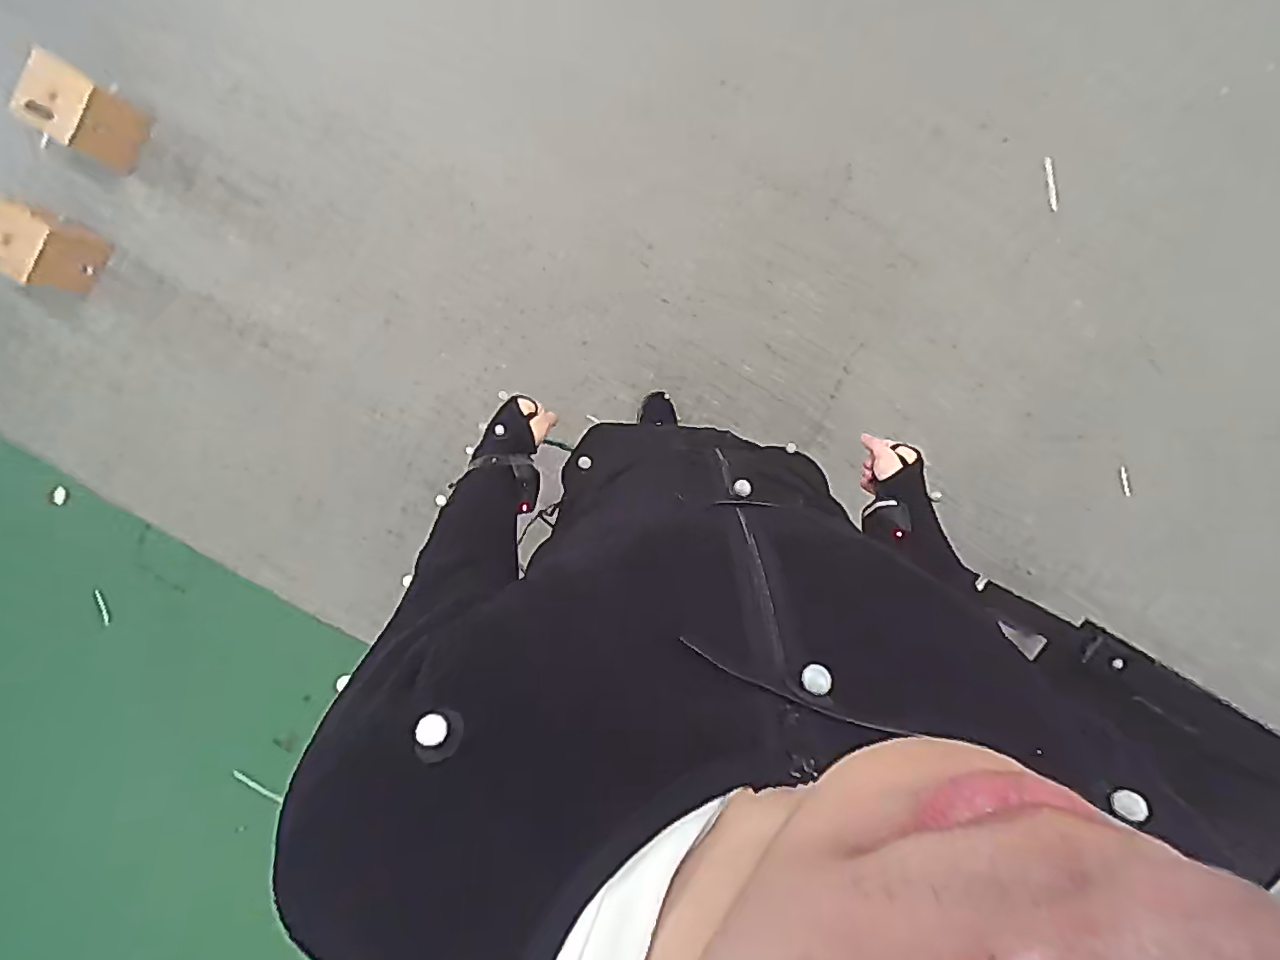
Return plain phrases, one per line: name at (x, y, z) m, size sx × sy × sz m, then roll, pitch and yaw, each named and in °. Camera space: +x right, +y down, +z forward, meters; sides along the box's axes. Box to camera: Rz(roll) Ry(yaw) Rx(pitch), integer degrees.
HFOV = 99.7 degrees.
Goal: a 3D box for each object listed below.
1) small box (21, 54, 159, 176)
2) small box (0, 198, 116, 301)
small box at (-1.446, -0.953, 1.435) m, size 0.168 × 0.176 × 0.179 m, roll 33°, pitch 97°, yaw -3°
small box at (-1.615, -0.625, 1.488) m, size 0.168 × 0.176 × 0.179 m, roll 35°, pitch 97°, yaw -4°
